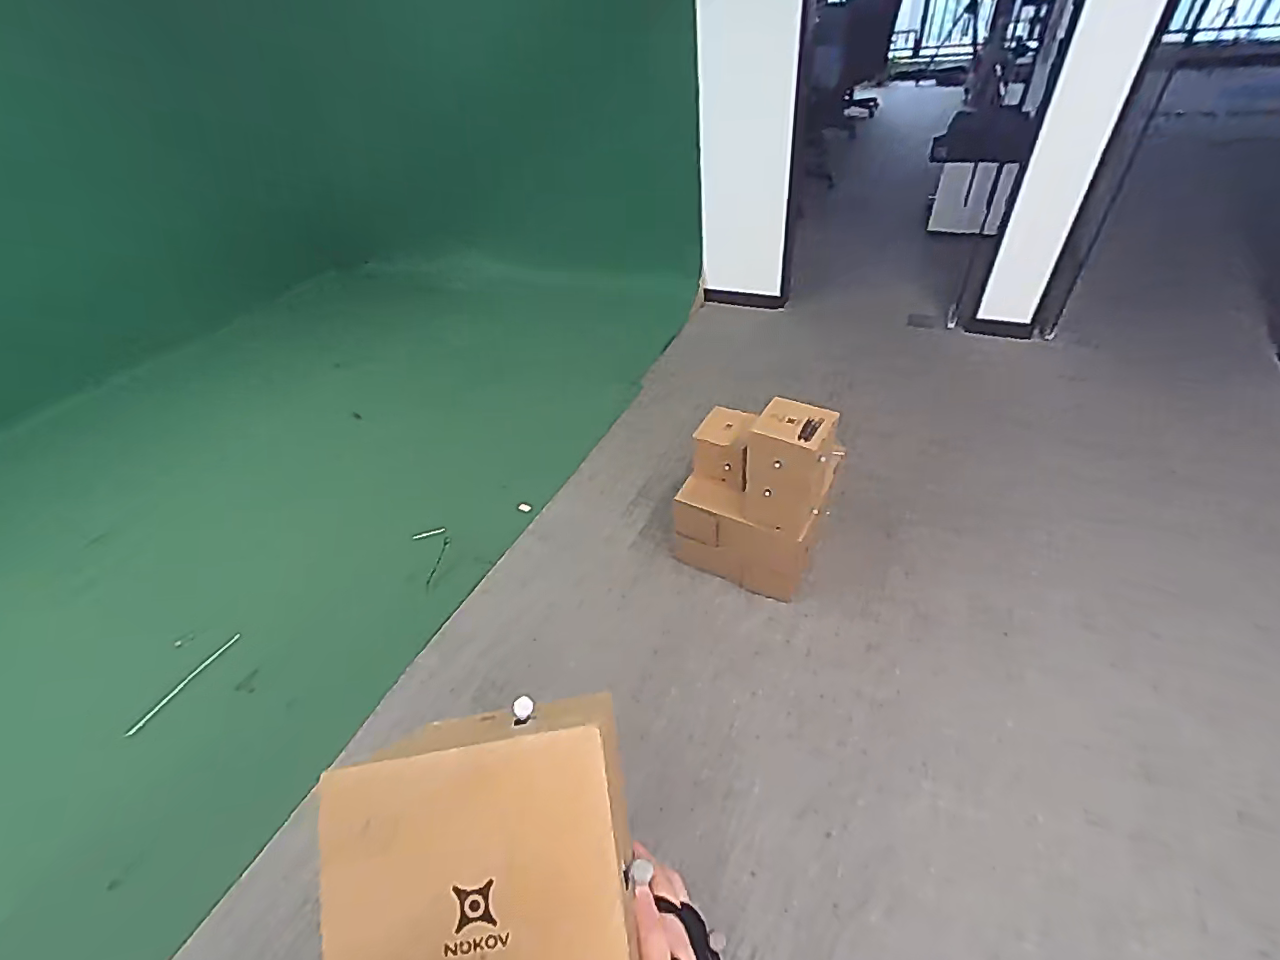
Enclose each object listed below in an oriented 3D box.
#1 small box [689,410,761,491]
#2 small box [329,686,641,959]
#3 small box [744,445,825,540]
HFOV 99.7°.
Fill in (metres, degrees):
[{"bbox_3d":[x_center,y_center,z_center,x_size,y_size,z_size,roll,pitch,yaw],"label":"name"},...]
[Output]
[{"bbox_3d":[0.268,-0.090,1.686,0.168,0.176,0.179,18,47,25],"label":"small box"},{"bbox_3d":[-0.092,0.251,0.381,0.168,0.176,0.179,-8,77,-3],"label":"small box"},{"bbox_3d":[0.401,0.036,1.524,0.168,0.176,0.179,20,48,27],"label":"small box"}]
